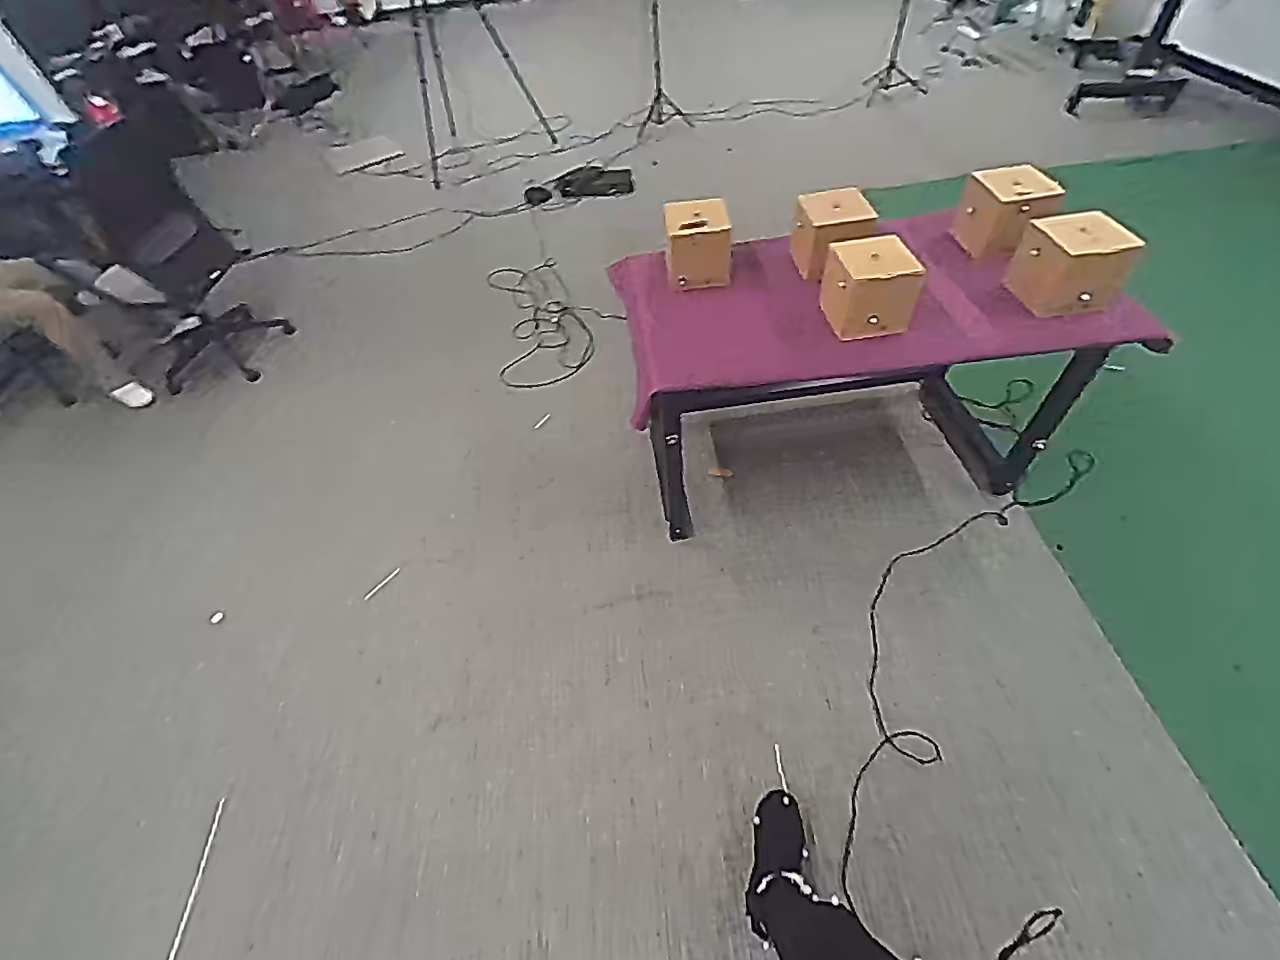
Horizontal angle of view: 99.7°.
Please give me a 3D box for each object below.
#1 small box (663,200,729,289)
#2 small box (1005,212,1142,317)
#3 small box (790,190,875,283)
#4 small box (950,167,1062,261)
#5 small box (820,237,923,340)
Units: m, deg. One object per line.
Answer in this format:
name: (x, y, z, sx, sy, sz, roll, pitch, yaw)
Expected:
small box: (0.157, -0.658, 1.527, 0.168, 0.176, 0.179, -5, 52, 1)
small box: (1.033, -0.521, 1.313, 0.168, 0.176, 0.179, -8, 50, 3)
small box: (0.524, -0.676, 1.504, 0.168, 0.176, 0.179, -8, 52, 1)
small box: (0.993, -0.731, 1.490, 0.168, 0.176, 0.179, -9, 51, 1)
small box: (0.559, -0.471, 1.336, 0.168, 0.176, 0.179, -8, 51, 0)
